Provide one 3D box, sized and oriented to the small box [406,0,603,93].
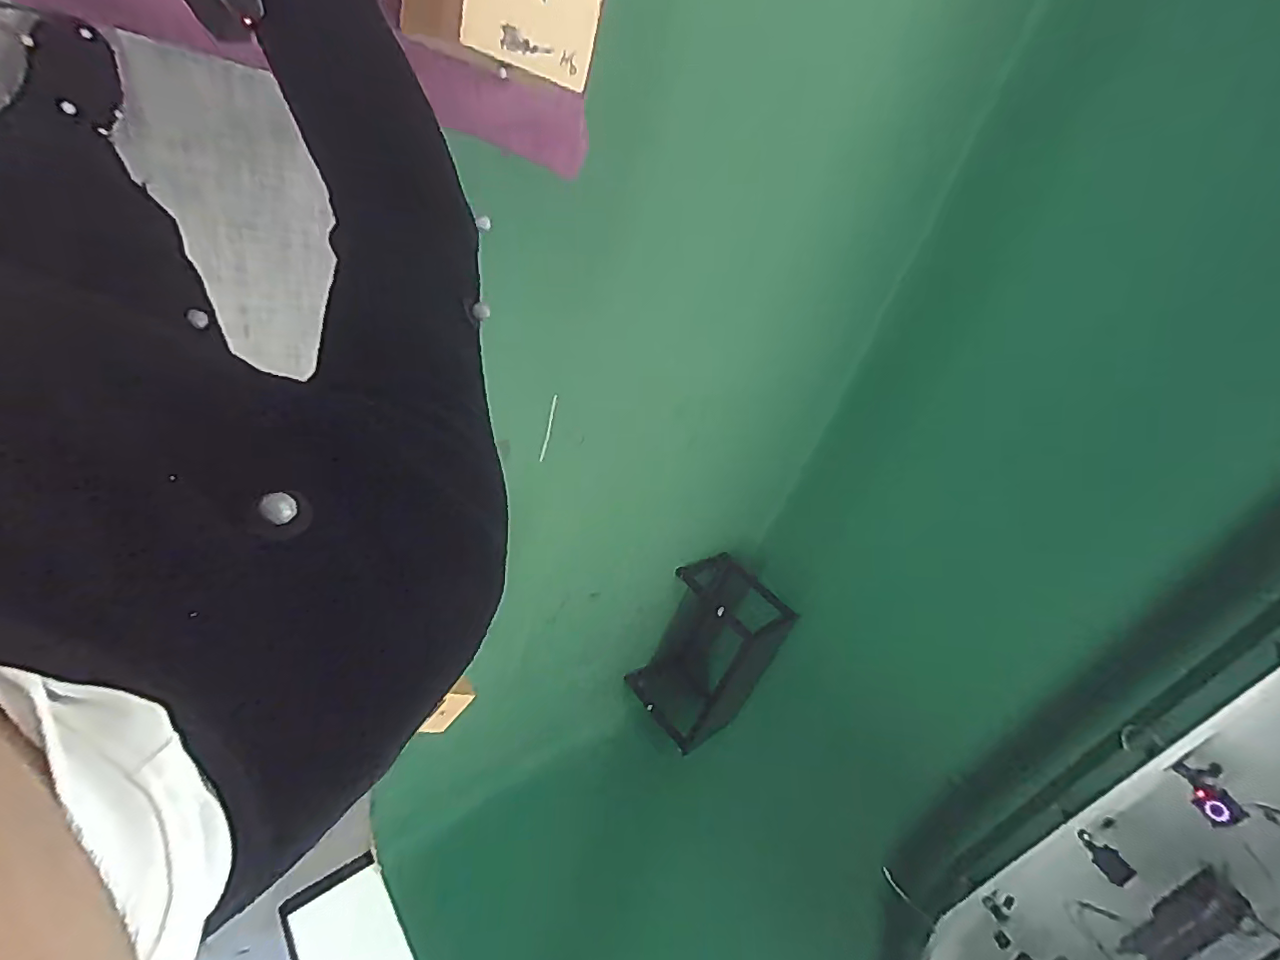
[{"bbox_3d":[-0.156,-0.587,0.627,0.168,0.176,0.179,-10,129,-42],"label":"small box"}]
